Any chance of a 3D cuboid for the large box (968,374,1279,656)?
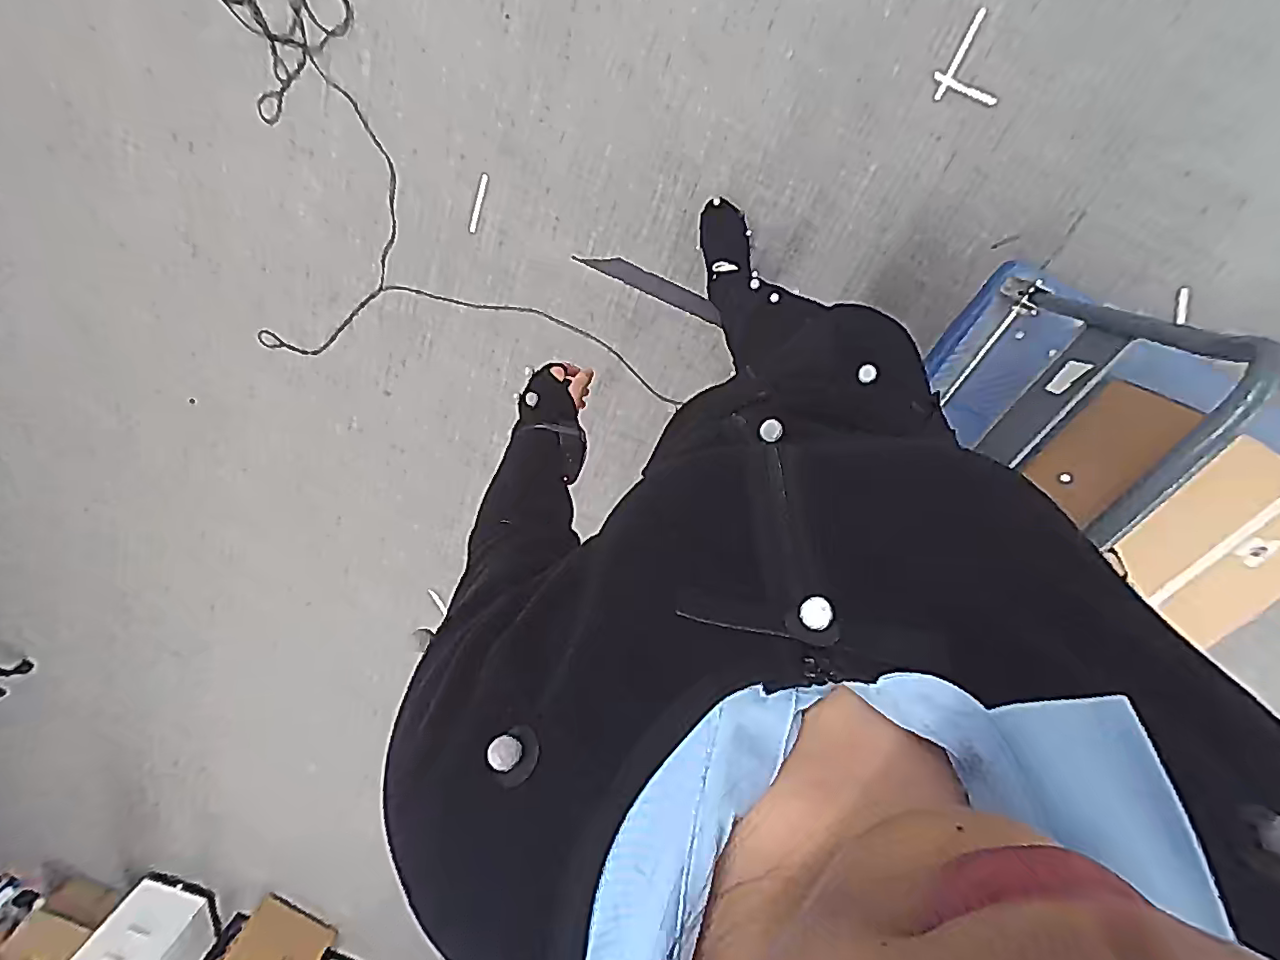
[{"bbox_3d":[0.974,0.059,1.090,0.320,0.320,0.408,28,116,-3],"label":"large box"}]
